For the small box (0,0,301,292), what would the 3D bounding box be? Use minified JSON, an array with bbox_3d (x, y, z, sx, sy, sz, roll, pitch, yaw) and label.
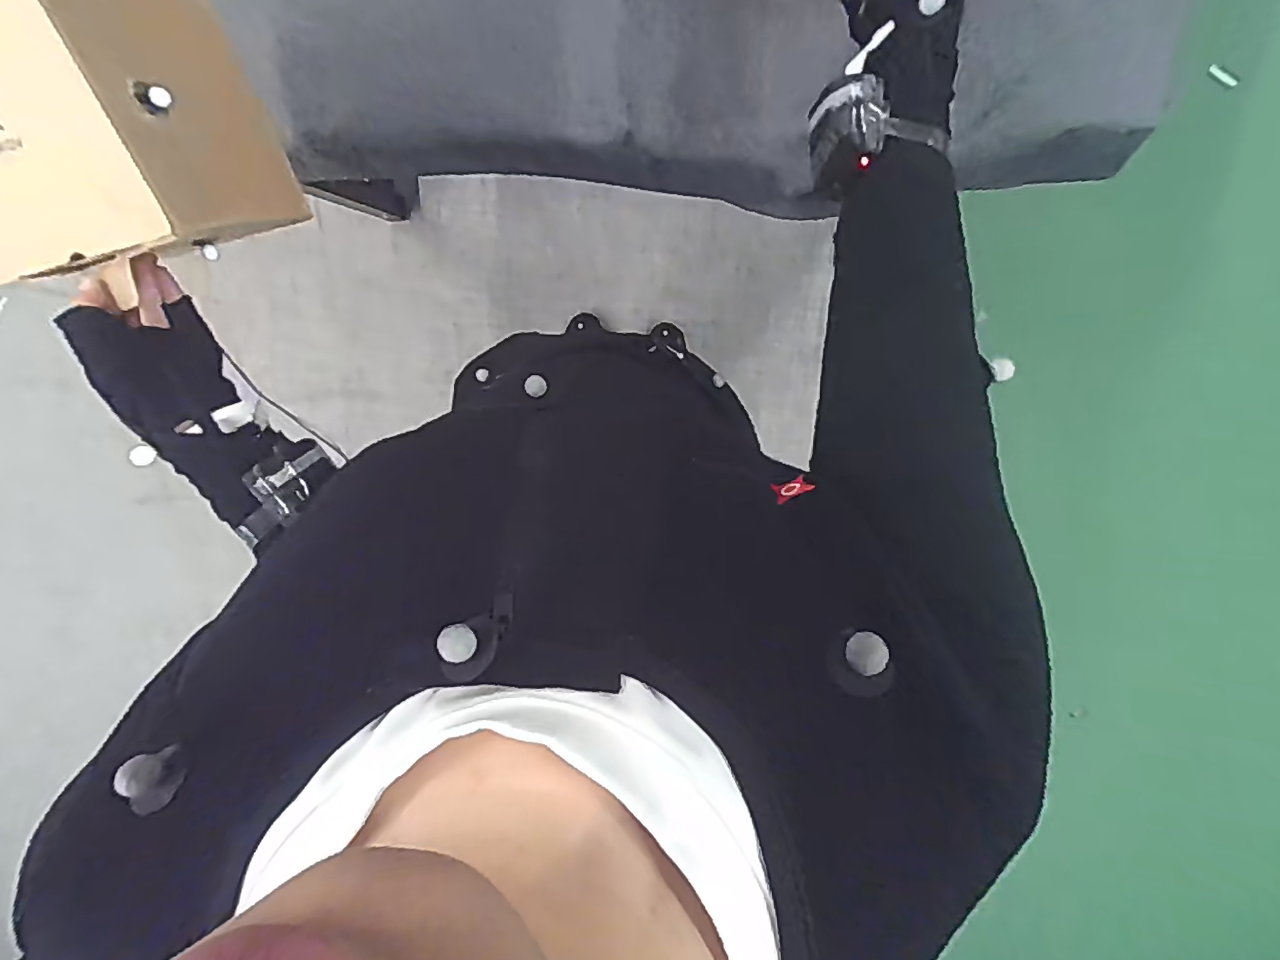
[{"bbox_3d":[-0.406,-0.261,0.405,0.168,0.176,0.179,-11,118,9],"label":"small box"}]
